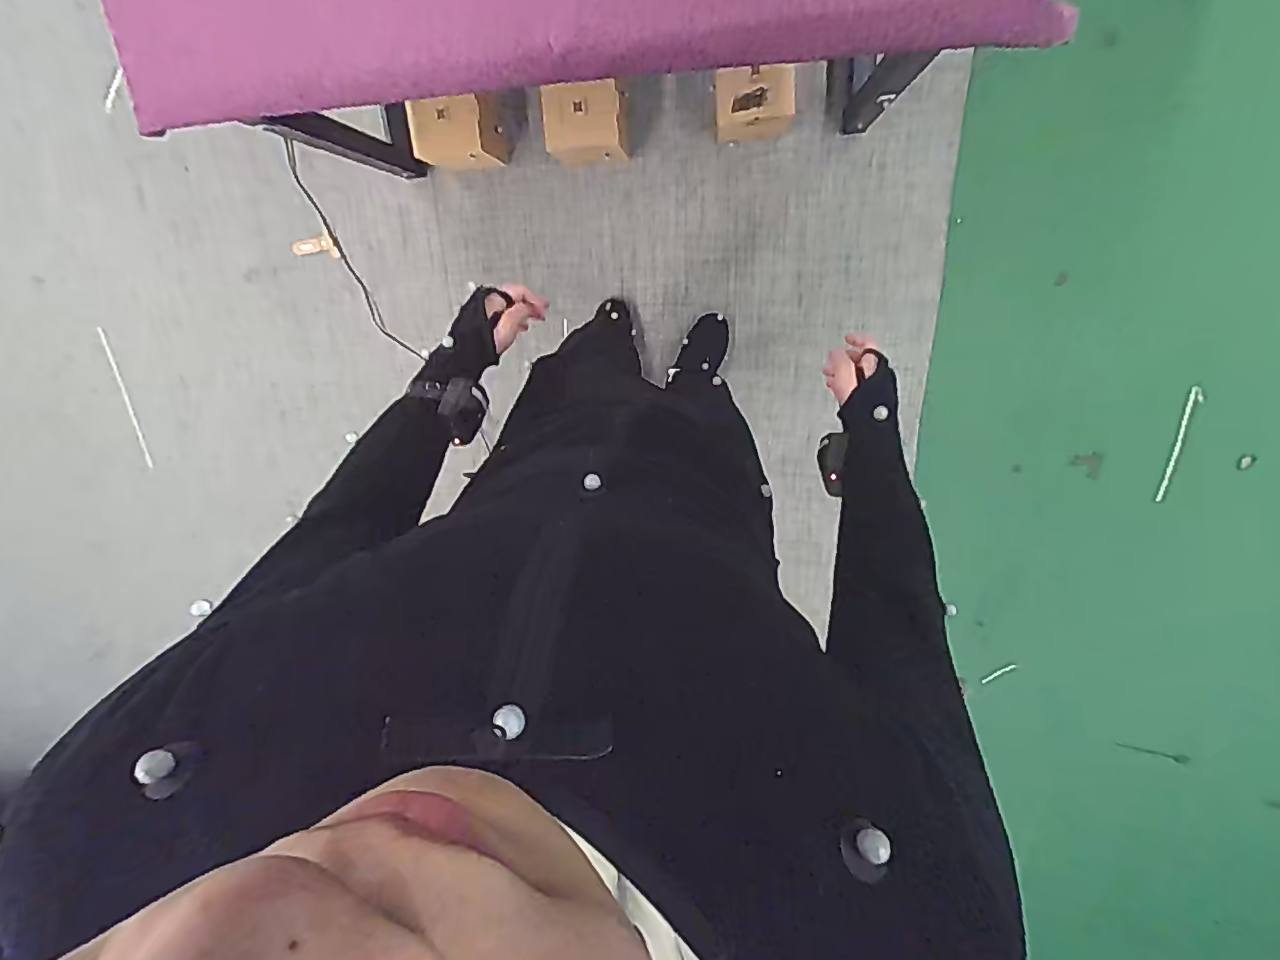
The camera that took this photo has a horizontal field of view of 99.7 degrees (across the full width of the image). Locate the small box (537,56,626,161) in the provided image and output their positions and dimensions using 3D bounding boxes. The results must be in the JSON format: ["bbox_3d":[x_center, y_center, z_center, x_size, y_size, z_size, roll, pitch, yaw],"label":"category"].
[{"bbox_3d":[-0.130,-0.868,1.276,0.179,0.176,0.168,1,109,8],"label":"small box"}]

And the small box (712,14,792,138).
[{"bbox_3d":[0.249,-0.890,1.213,0.168,0.176,0.179,-3,109,9],"label":"small box"}]

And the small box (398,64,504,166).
[{"bbox_3d":[-0.452,-0.879,1.319,0.179,0.176,0.168,-1,110,8],"label":"small box"}]
